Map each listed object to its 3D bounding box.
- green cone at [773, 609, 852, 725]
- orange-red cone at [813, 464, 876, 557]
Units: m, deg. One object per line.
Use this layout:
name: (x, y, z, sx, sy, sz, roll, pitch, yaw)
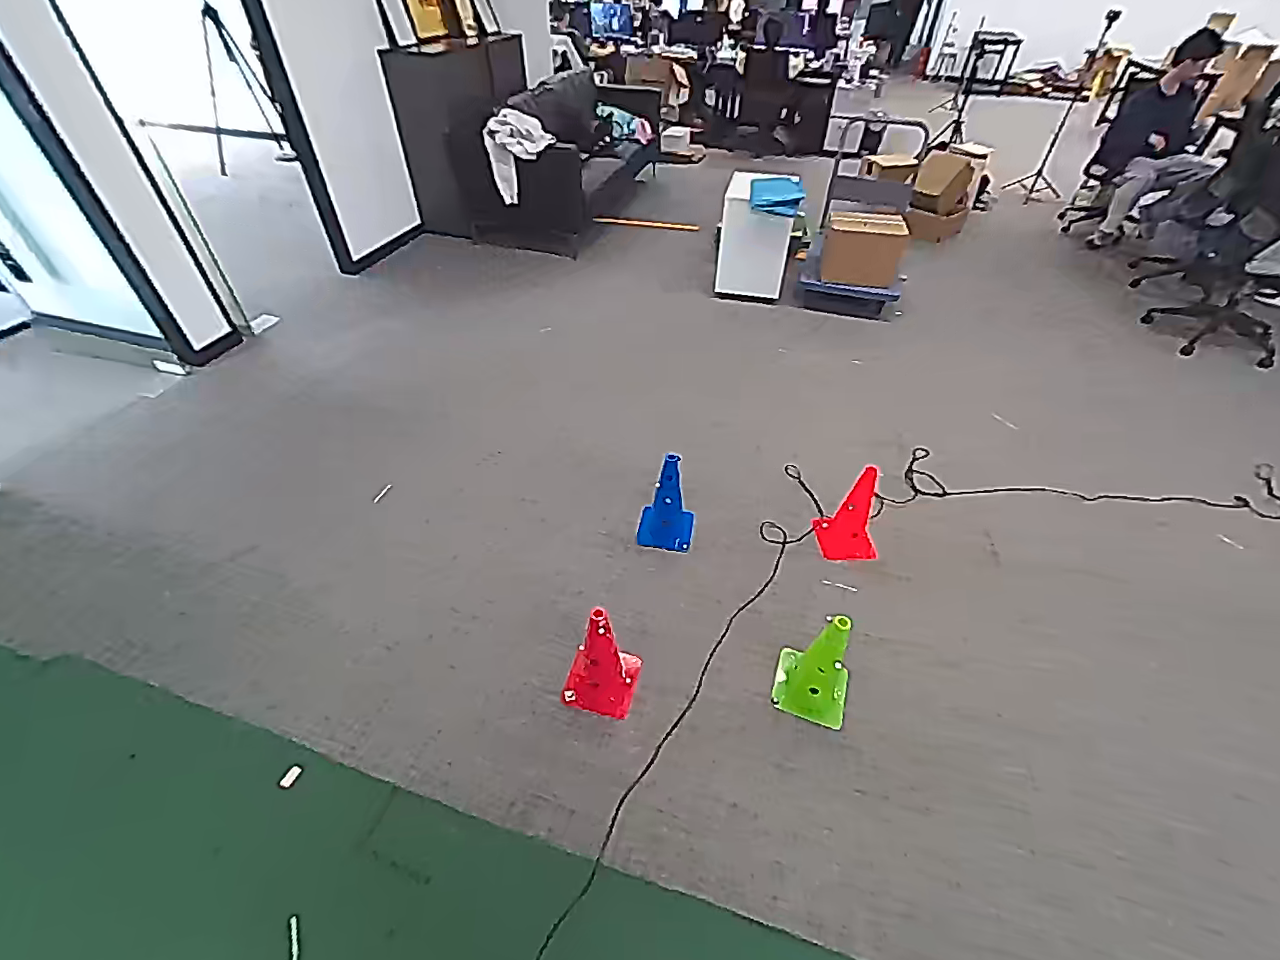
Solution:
green cone: (0.508, 0.475, 1.470, 0.200, 0.368, 0.202, 15, 44, 14)
orange-red cone: (0.754, 0.086, 1.887, 0.198, 0.360, 0.199, -1, 45, 0)
